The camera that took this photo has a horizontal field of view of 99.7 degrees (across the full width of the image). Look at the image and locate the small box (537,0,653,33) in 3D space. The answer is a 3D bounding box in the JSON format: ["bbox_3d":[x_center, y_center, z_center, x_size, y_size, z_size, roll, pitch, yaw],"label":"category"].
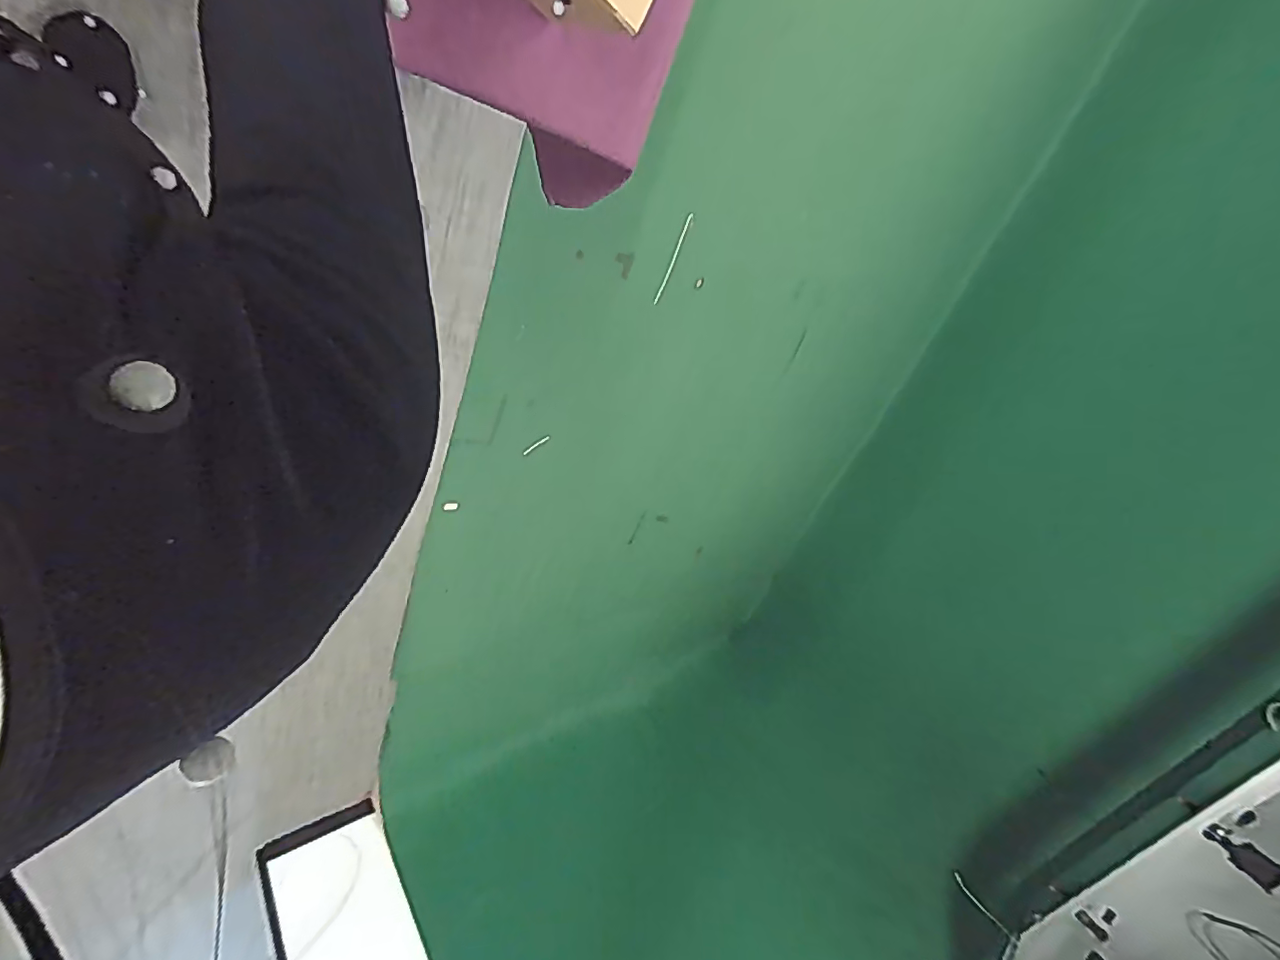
[{"bbox_3d":[-0.061,-0.565,0.496,0.168,0.176,0.179,9,118,-50],"label":"small box"}]
